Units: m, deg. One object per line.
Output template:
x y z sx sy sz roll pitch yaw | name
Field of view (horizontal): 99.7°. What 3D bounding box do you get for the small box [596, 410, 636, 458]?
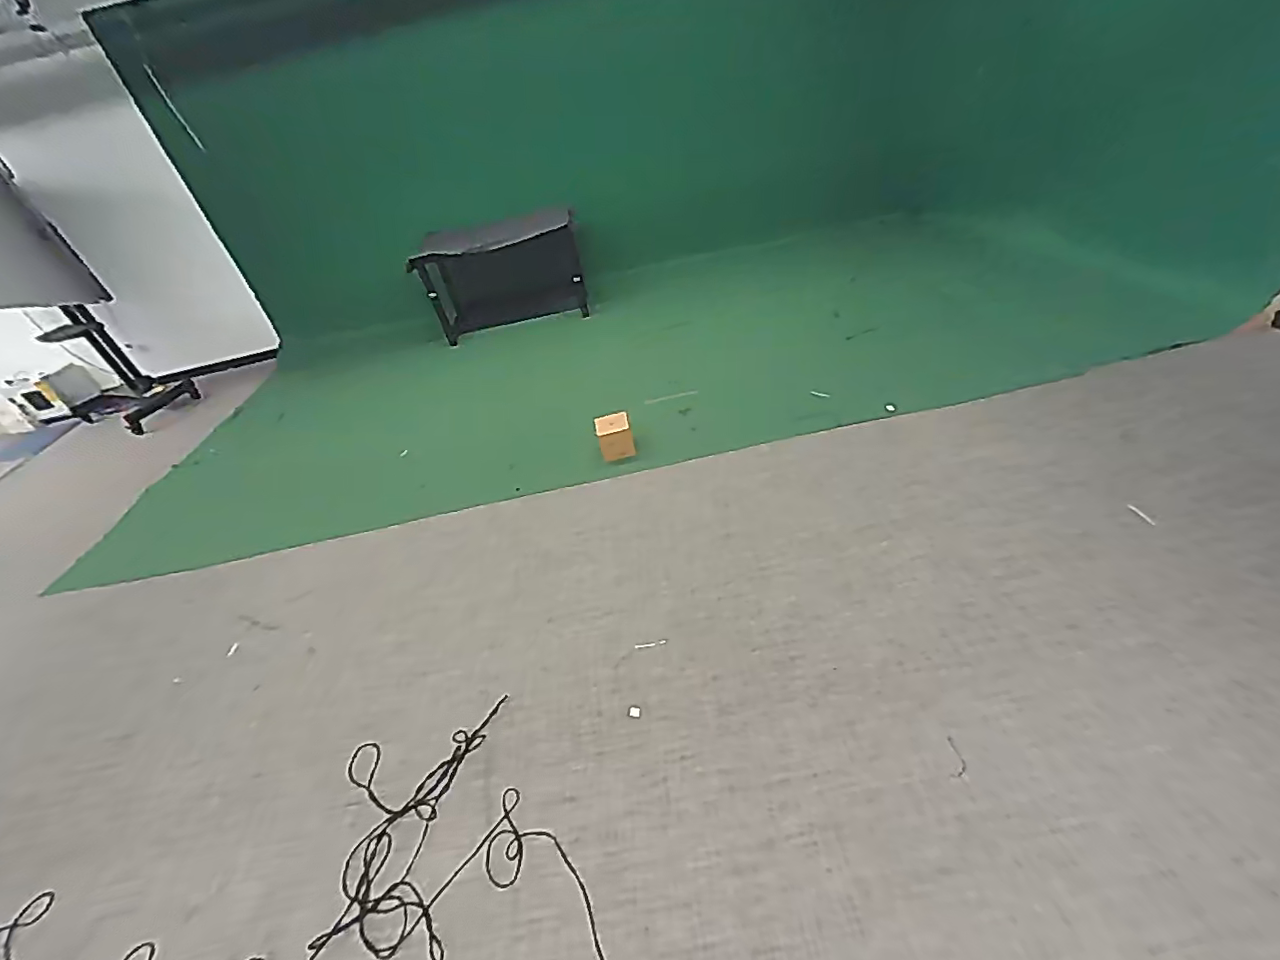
-0.121 -0.230 2.760 0.168 0.176 0.179 -14 37 0 | small box
